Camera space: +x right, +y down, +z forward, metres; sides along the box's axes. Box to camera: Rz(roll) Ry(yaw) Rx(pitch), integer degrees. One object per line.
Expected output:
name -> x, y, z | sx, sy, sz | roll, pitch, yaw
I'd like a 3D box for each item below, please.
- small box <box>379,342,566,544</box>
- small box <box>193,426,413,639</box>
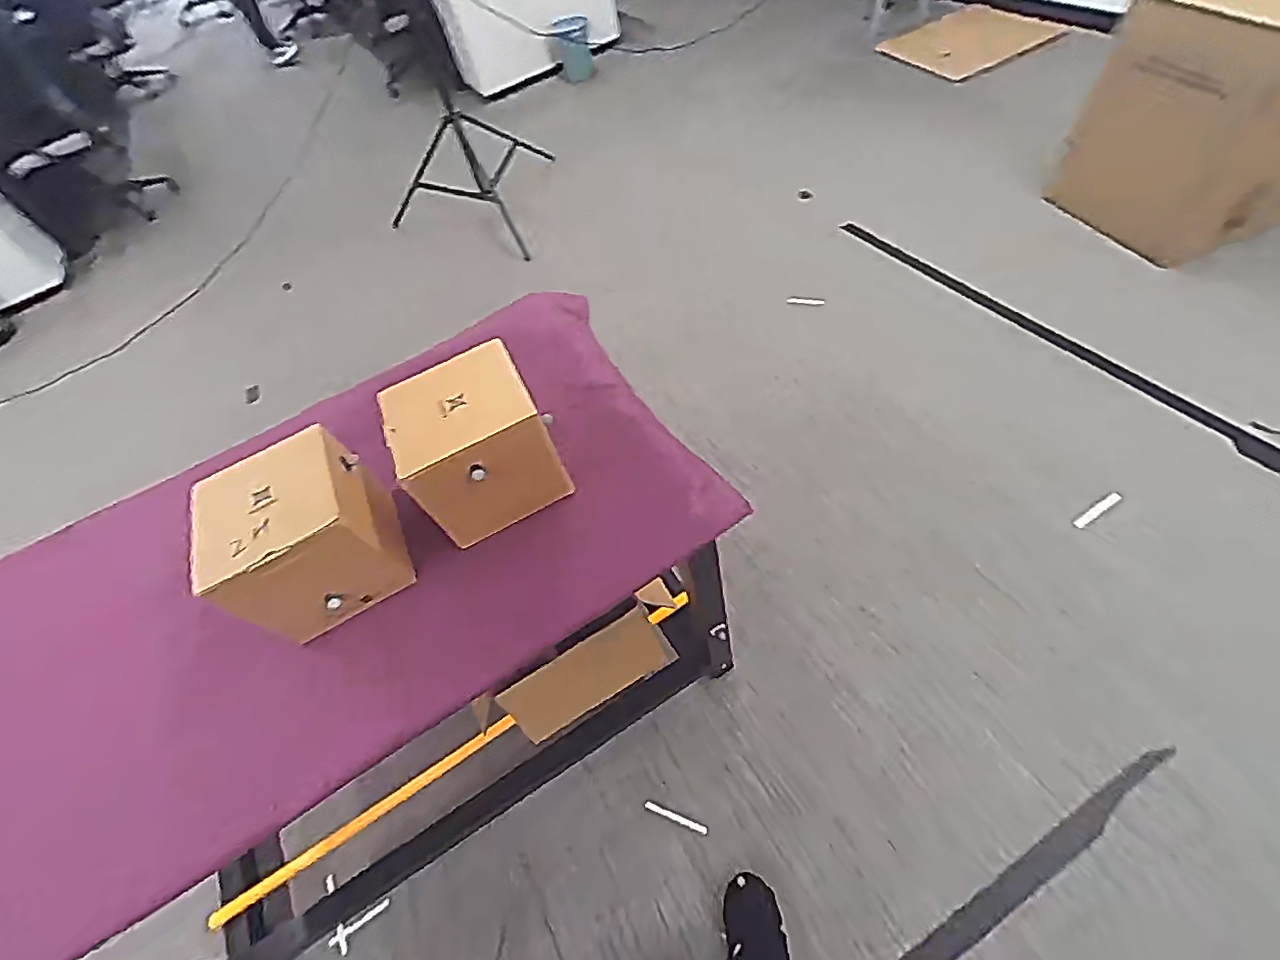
small box -> -0.214, -0.046, 0.730 | 0.179, 0.176, 0.168 | -28, 54, -7
small box -> -0.421, 0.071, 0.692 | 0.168, 0.176, 0.179 | -30, 55, -8
